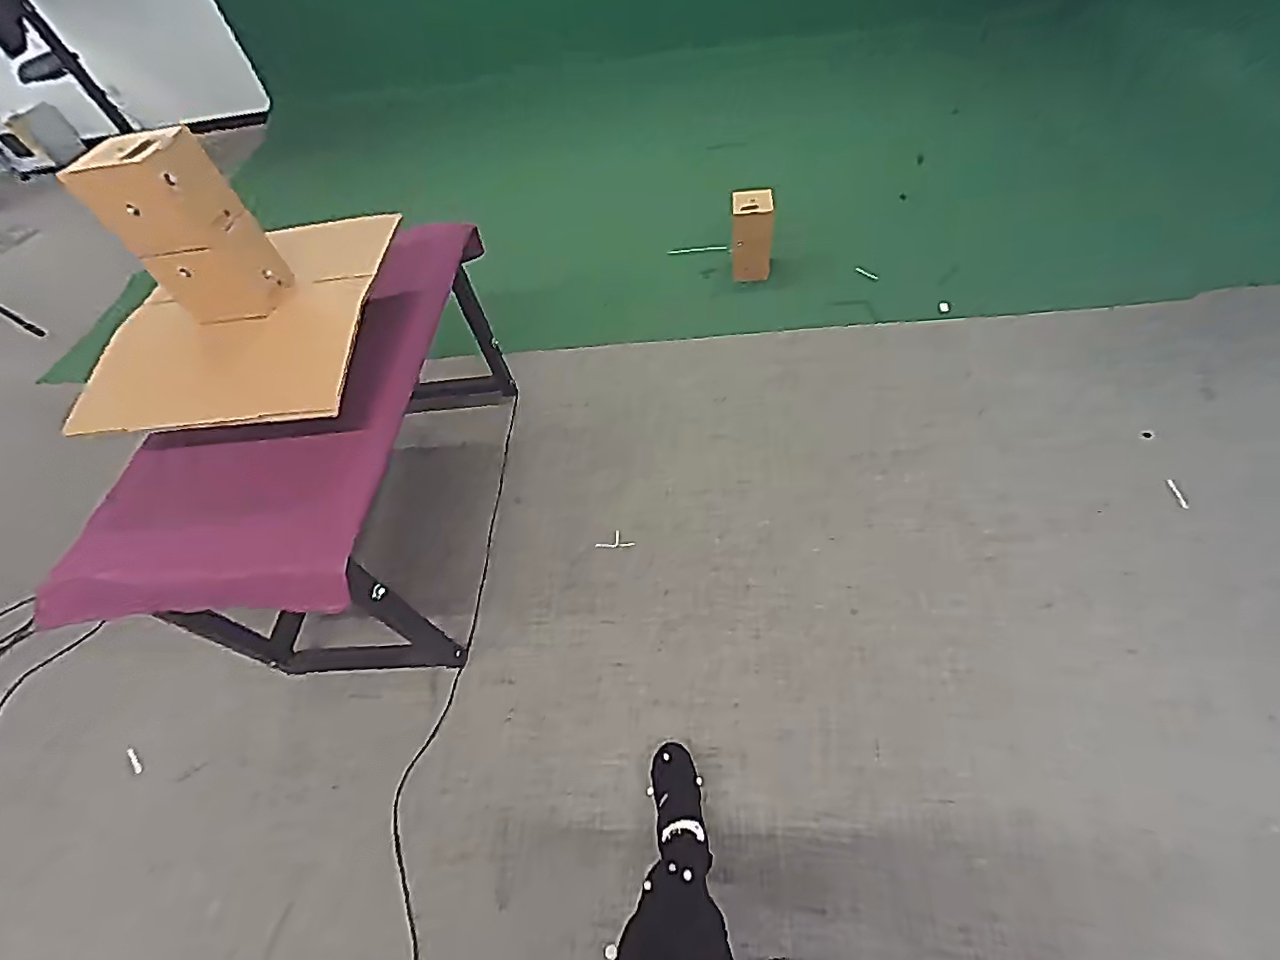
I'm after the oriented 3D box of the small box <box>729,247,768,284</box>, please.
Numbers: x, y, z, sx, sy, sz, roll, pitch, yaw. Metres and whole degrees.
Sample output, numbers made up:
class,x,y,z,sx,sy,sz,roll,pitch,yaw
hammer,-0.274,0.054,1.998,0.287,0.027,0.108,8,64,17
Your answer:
class,x,y,z,sx,sy,sz,roll,pitch,yaw
small box,0.500,-1.033,2.501,0.168,0.176,0.179,-1,56,7

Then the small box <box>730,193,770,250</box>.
class,x,y,z,sx,sy,sz,roll,pitch,yaw
small box,0.480,-1.126,2.368,0.168,0.176,0.179,0,55,8

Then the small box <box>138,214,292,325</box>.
class,x,y,z,sx,sy,sz,roll,pitch,yaw
small box,-0.940,-0.468,1.216,0.179,0.176,0.168,-4,53,5
